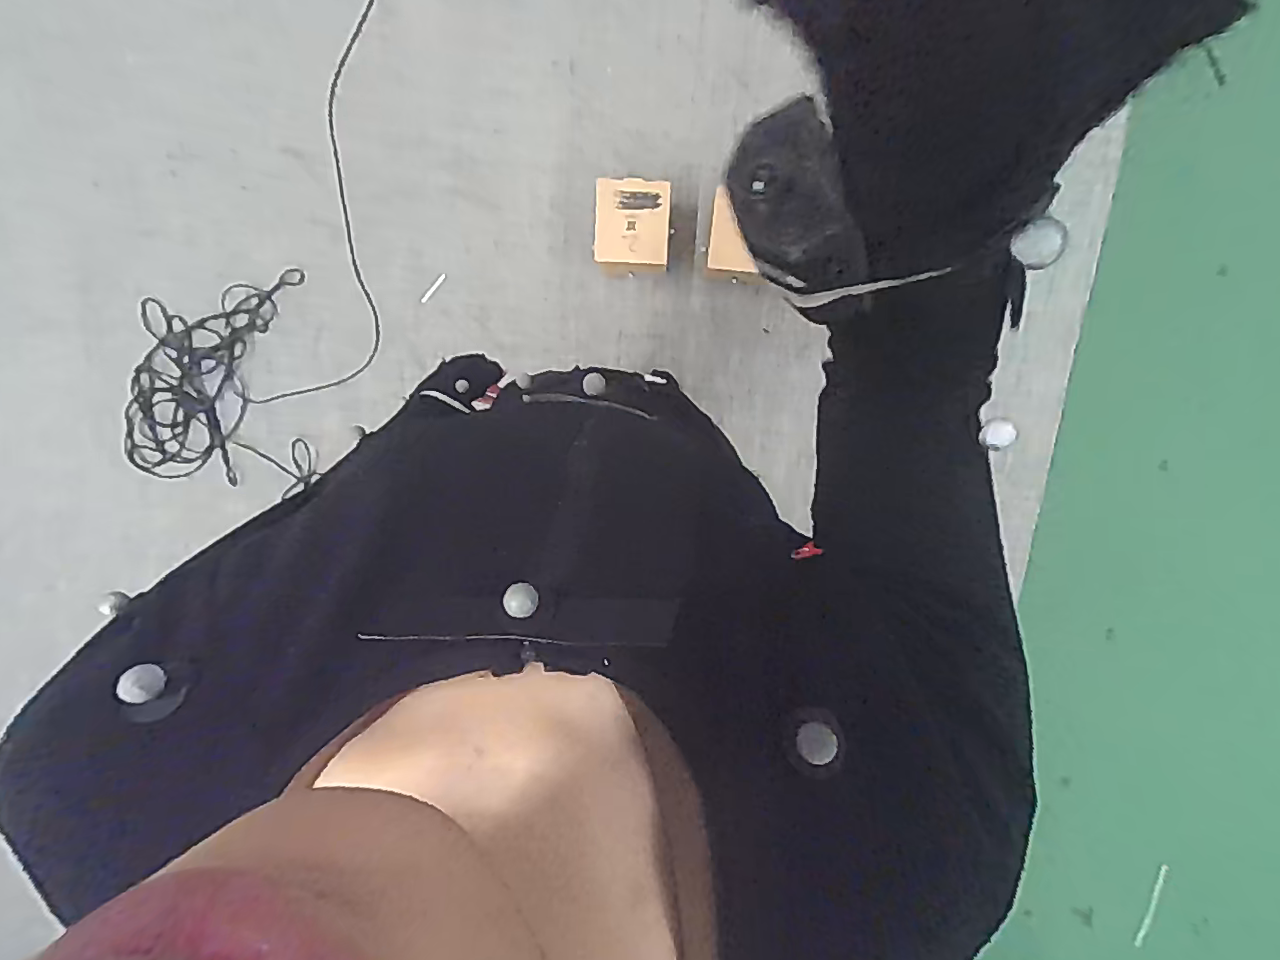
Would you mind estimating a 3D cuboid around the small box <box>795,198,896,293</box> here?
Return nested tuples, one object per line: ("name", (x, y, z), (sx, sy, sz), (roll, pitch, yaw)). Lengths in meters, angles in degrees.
("small box", (0.474, -0.544, 1.276), (0.168, 0.176, 0.179), (3, 102, 0))

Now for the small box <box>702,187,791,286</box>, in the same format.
("small box", (0.242, -0.563, 1.272), (0.168, 0.176, 0.179), (5, 102, -1))
